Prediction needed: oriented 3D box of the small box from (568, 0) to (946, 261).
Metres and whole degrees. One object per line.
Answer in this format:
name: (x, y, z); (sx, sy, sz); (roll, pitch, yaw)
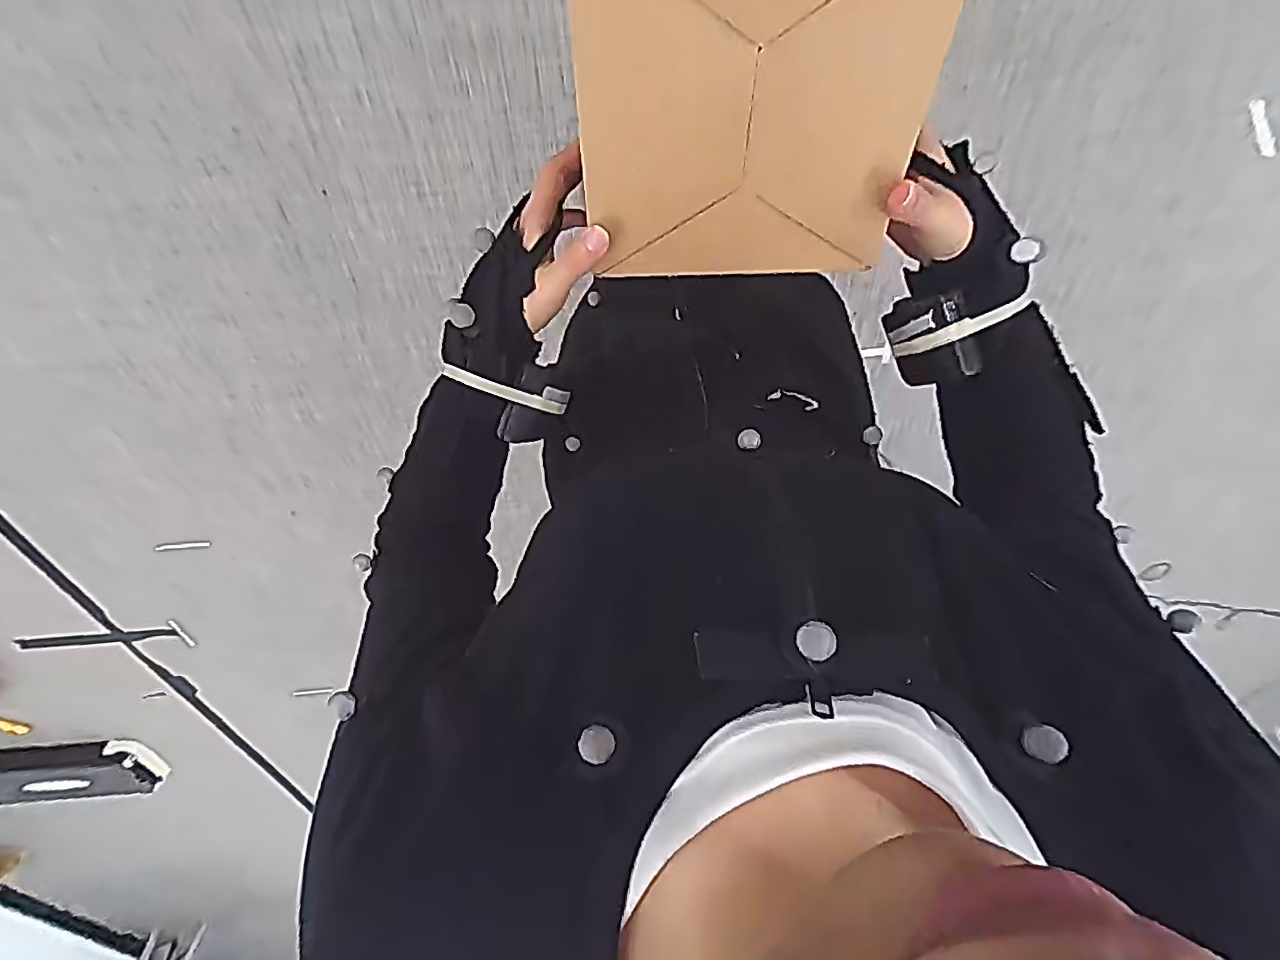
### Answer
small box: (0.056, -0.248, 0.319); (0.179, 0.176, 0.168); (-2, 141, 0)
